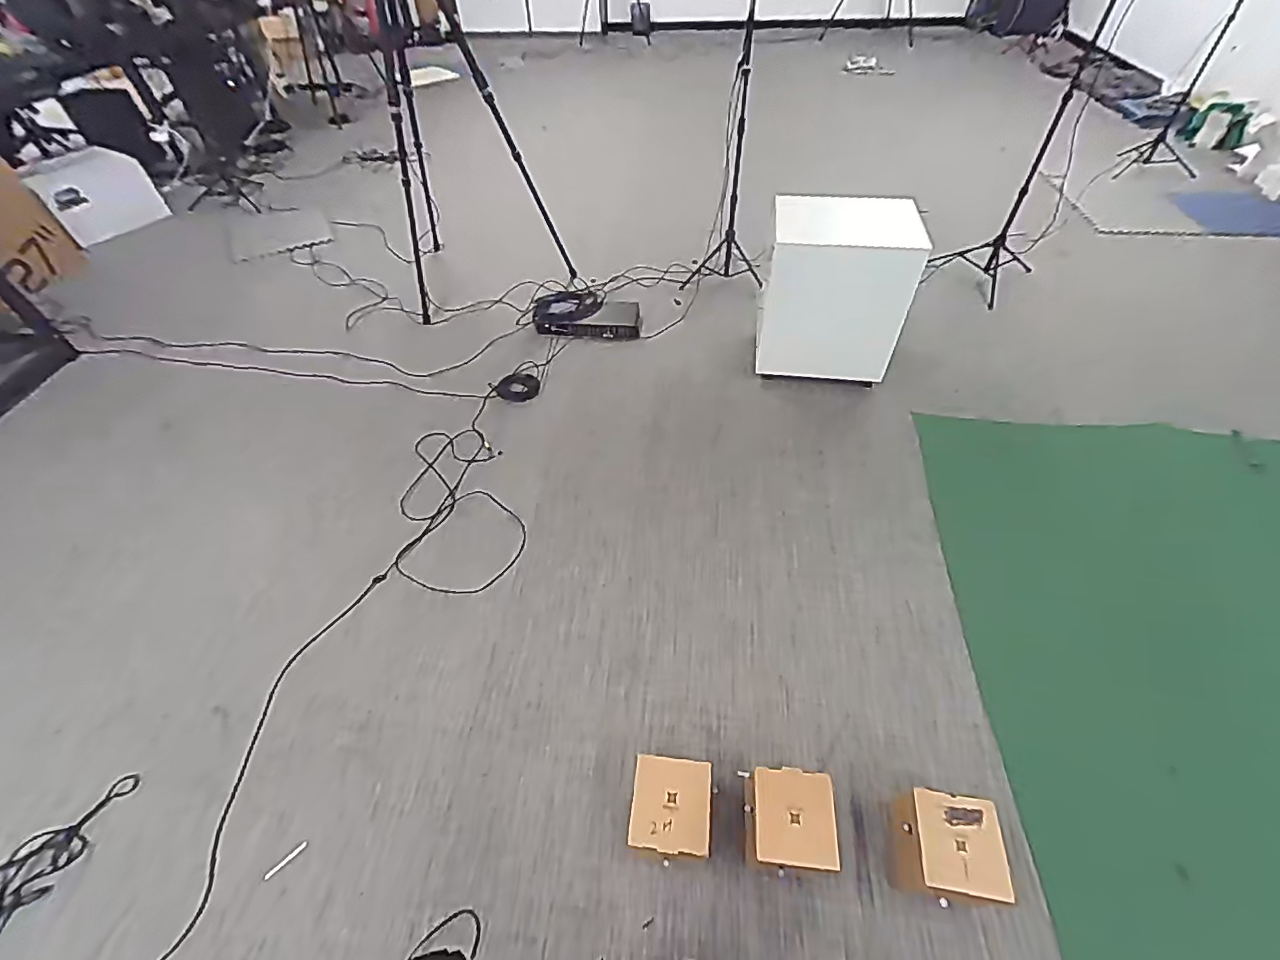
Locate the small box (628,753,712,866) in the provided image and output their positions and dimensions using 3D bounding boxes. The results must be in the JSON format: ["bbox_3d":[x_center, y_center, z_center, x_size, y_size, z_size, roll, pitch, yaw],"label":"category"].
[{"bbox_3d":[0.068,0.732,1.200,0.168,0.176,0.179,4,49,6],"label":"small box"}]

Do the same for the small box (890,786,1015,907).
[{"bbox_3d":[0.645,0.777,1.145,0.168,0.176,0.179,6,50,8],"label":"small box"}]

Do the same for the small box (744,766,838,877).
[{"bbox_3d":[0.322,0.749,1.182,0.168,0.176,0.179,4,49,5],"label":"small box"}]
